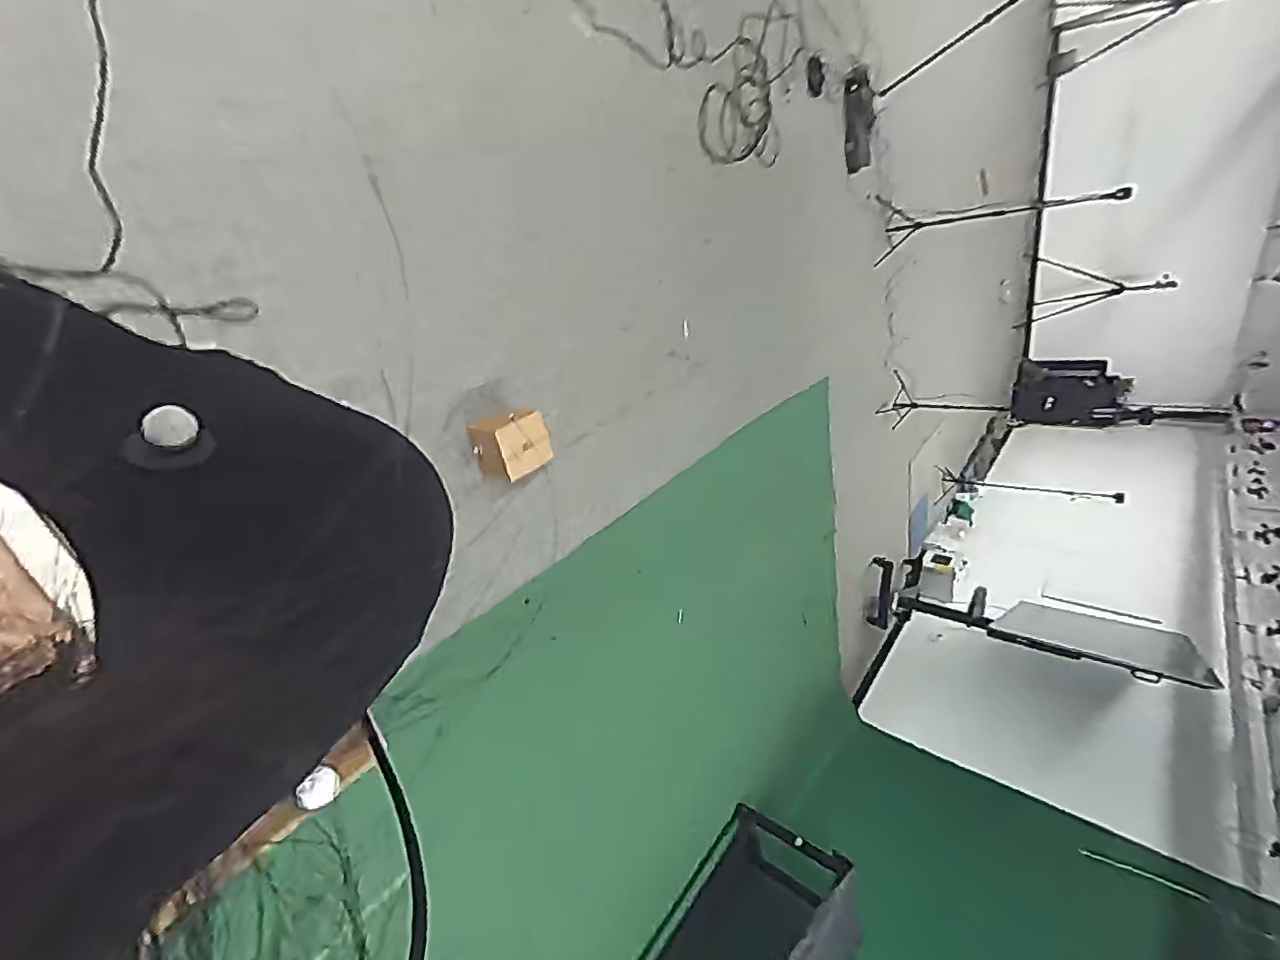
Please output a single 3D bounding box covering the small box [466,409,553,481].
[{"bbox_3d":[-0.407,-0.116,1.687,0.179,0.176,0.168,-34,121,-37],"label":"small box"}]
